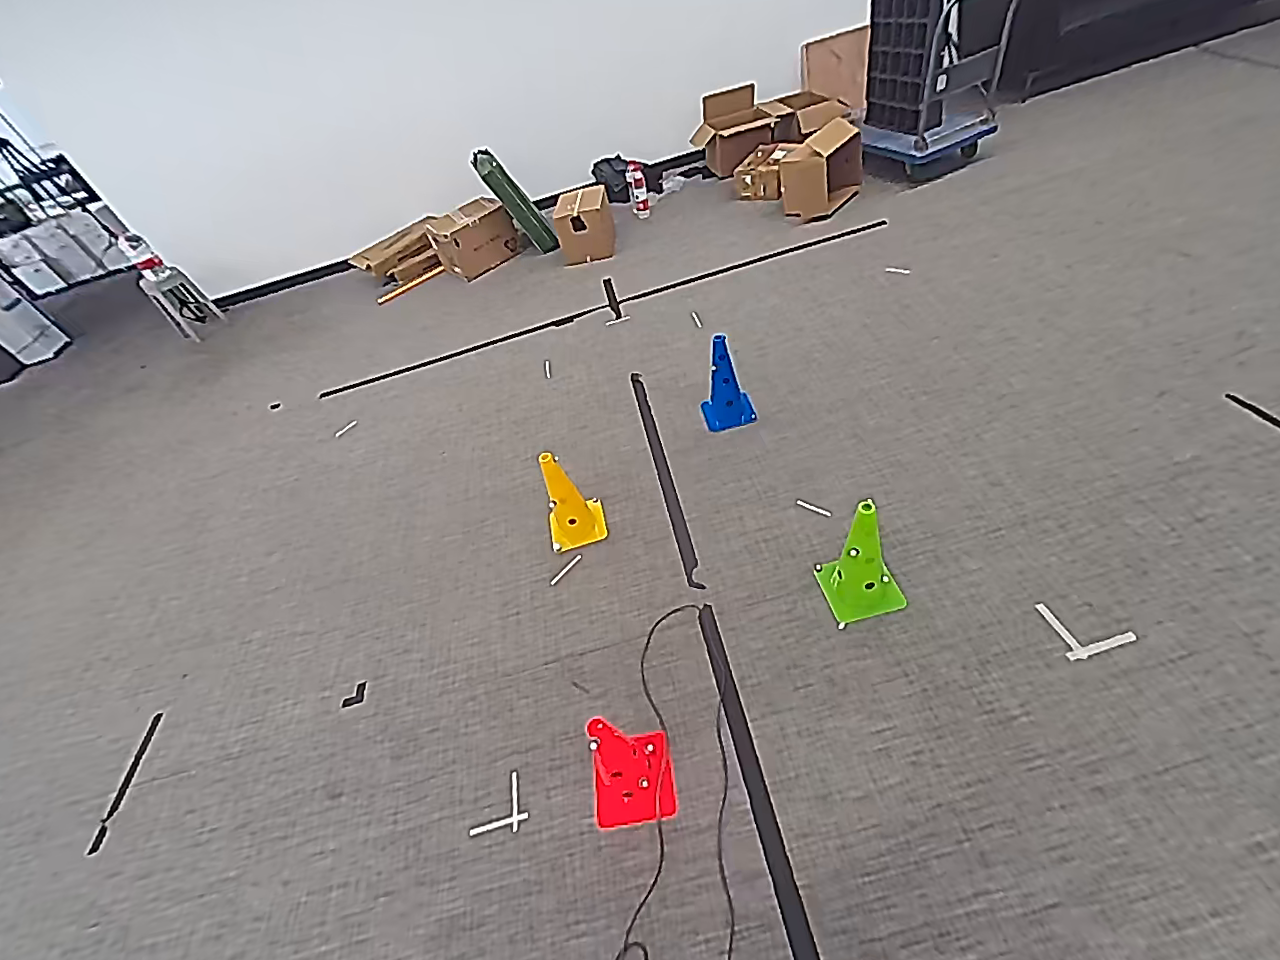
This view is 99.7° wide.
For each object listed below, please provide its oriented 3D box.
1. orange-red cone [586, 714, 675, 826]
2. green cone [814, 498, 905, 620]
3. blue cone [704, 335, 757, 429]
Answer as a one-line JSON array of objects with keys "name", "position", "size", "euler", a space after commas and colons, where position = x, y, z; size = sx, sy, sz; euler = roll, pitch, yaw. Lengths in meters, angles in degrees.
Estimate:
[{"name": "orange-red cone", "position": [-0.056, 0.623, 1.231], "size": [0.199, 0.360, 0.198], "euler": [-14, 43, 6]}, {"name": "green cone", "position": [0.596, 0.186, 1.446], "size": [0.202, 0.368, 0.200], "euler": [-15, 45, 1]}, {"name": "blue cone", "position": [0.335, -0.393, 2.111], "size": [0.192, 0.380, 0.193], "euler": [-13, 45, 4]}]
